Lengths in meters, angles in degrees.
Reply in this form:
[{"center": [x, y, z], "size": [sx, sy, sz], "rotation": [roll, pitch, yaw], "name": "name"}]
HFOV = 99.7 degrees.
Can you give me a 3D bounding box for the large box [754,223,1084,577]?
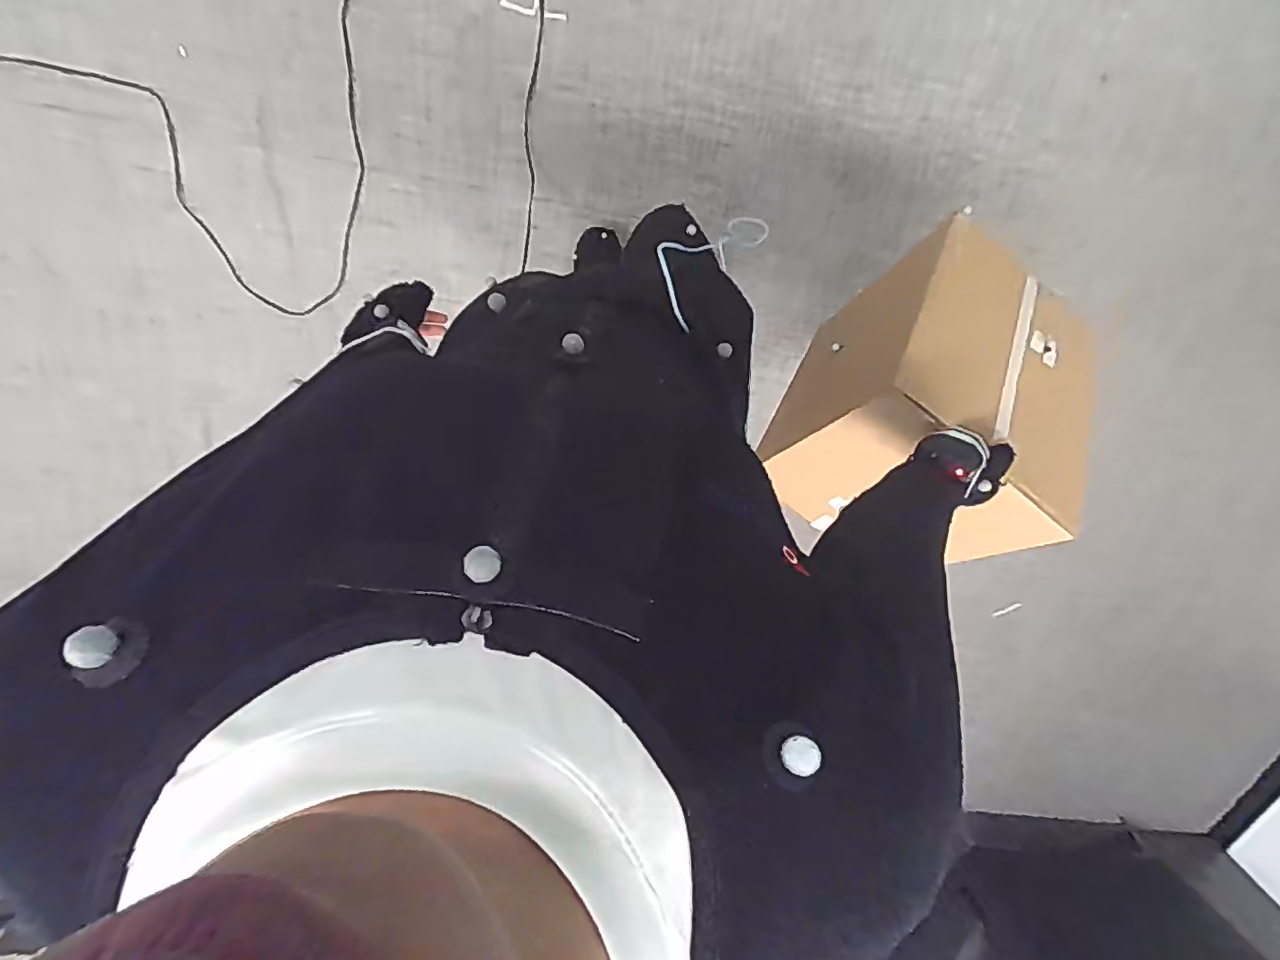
[{"center": [0.447, -0.110, 0.880], "size": [0.320, 0.408, 0.320], "rotation": [37, 150, -9], "name": "large box"}]
